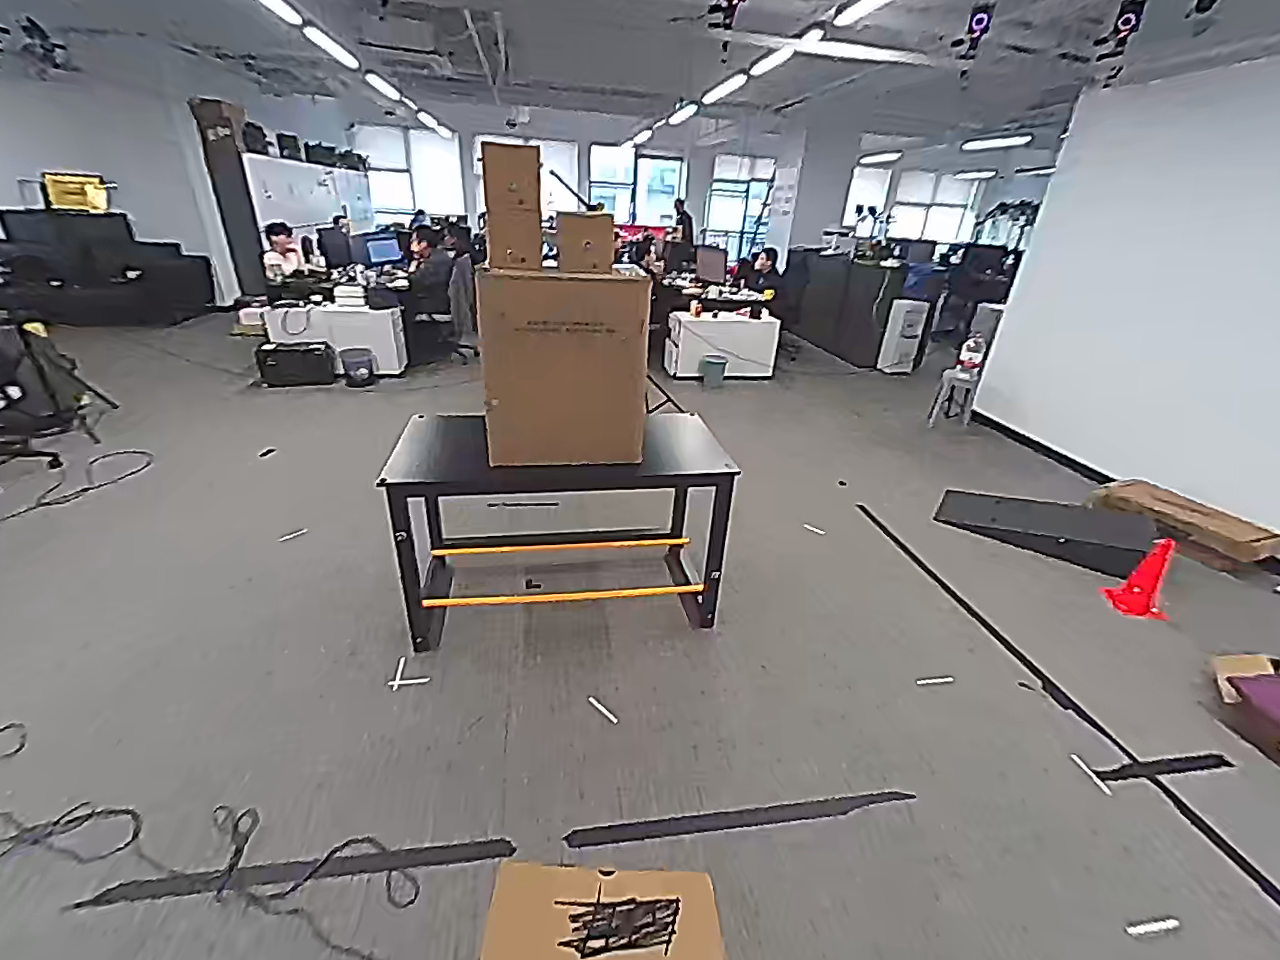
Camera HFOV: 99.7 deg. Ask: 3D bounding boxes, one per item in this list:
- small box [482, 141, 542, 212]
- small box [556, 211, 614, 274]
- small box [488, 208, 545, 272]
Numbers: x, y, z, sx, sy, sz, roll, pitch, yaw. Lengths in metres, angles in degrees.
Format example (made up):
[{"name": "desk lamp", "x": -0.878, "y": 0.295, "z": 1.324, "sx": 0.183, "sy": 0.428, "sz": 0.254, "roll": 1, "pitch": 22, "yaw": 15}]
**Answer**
[{"name": "small box", "x": -0.383, "y": -0.904, "z": 1.623, "sx": 0.168, "sy": 0.176, "sz": 0.179, "roll": -3, "pitch": 28, "yaw": -13}, {"name": "small box", "x": -0.175, "y": -0.753, "z": 1.713, "sx": 0.168, "sy": 0.176, "sz": 0.179, "roll": -4, "pitch": 29, "yaw": -12}, {"name": "small box", "x": -0.391, "y": -0.759, "z": 1.701, "sx": 0.168, "sy": 0.176, "sz": 0.179, "roll": -4, "pitch": 30, "yaw": -15}]
